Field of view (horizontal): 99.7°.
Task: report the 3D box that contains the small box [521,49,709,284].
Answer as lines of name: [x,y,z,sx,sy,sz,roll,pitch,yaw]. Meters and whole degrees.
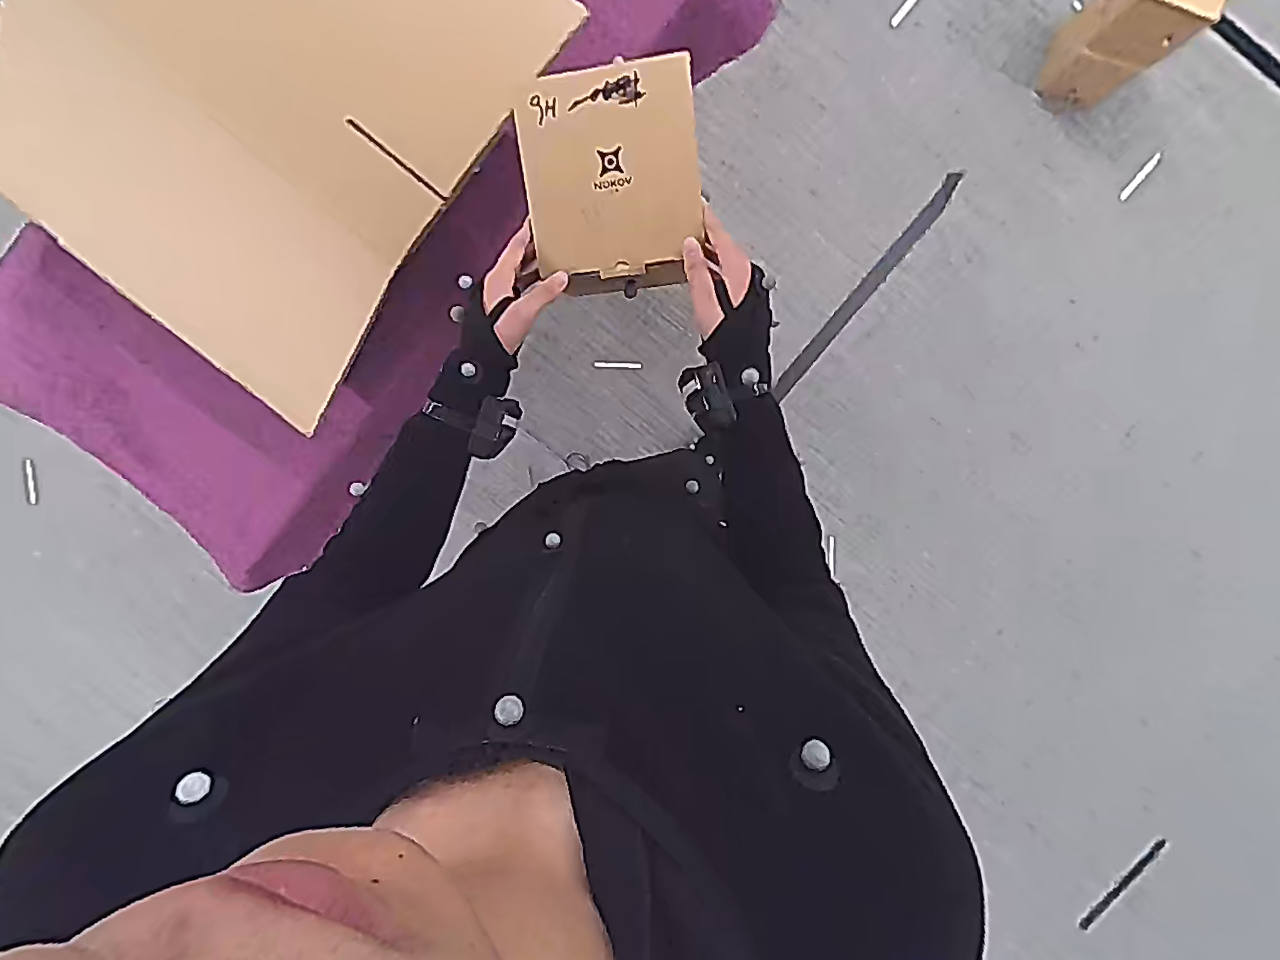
small box: [-0.014,-0.313,0.584,0.168,0.176,0.179,-5,104,5]
